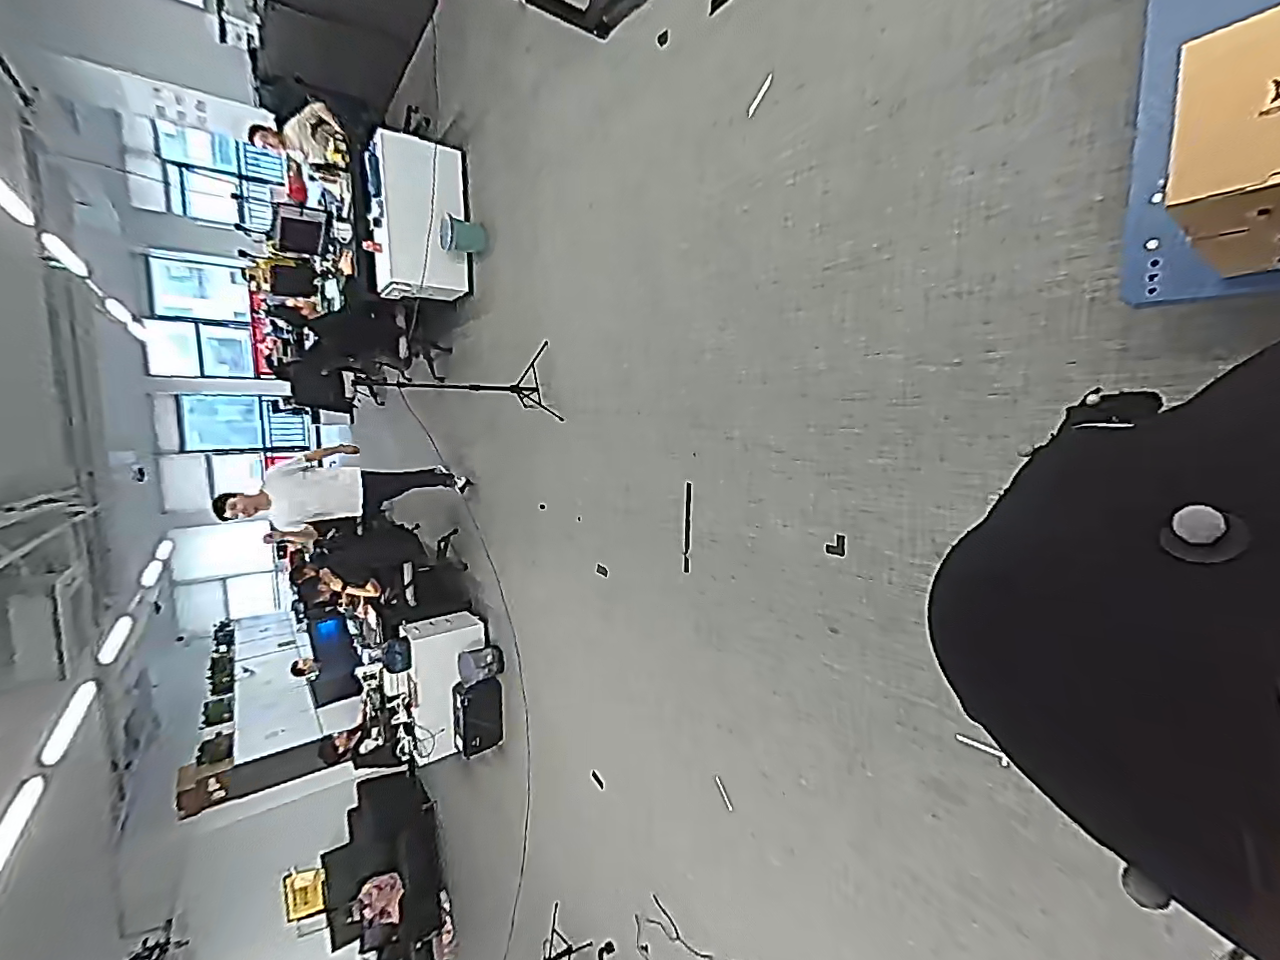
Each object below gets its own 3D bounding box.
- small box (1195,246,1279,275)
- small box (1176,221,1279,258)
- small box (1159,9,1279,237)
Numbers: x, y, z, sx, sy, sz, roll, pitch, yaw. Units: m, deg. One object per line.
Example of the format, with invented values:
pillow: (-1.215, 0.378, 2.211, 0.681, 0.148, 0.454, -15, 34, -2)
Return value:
small box: (0.963, -0.415, 0.804, 0.168, 0.176, 0.179, 7, 99, 51)
small box: (0.832, -0.402, 0.705, 0.168, 0.176, 0.179, 4, 98, 52)
small box: (0.709, -0.393, 0.598, 0.168, 0.176, 0.179, 8, 100, 52)
